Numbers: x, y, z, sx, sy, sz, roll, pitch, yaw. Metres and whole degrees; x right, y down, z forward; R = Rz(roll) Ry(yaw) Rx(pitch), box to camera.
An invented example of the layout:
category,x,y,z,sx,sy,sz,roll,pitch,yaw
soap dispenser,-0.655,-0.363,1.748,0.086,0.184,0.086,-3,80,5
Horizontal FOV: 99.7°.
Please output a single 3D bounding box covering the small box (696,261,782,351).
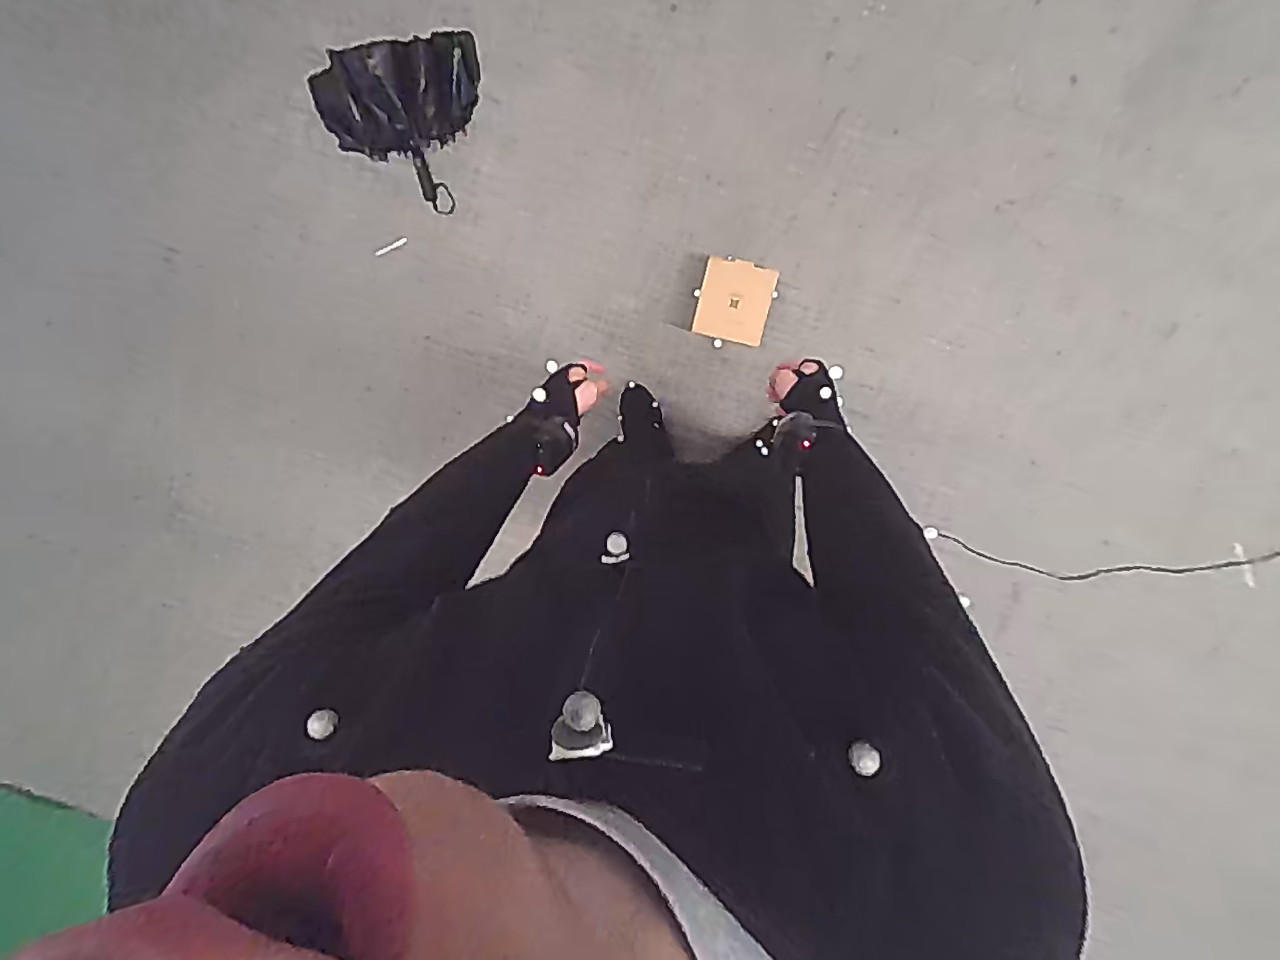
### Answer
category,x,y,z,sx,sy,sz,roll,pitch,yaw
small box,0.238,-0.425,1.339,0.168,0.176,0.179,14,106,4
